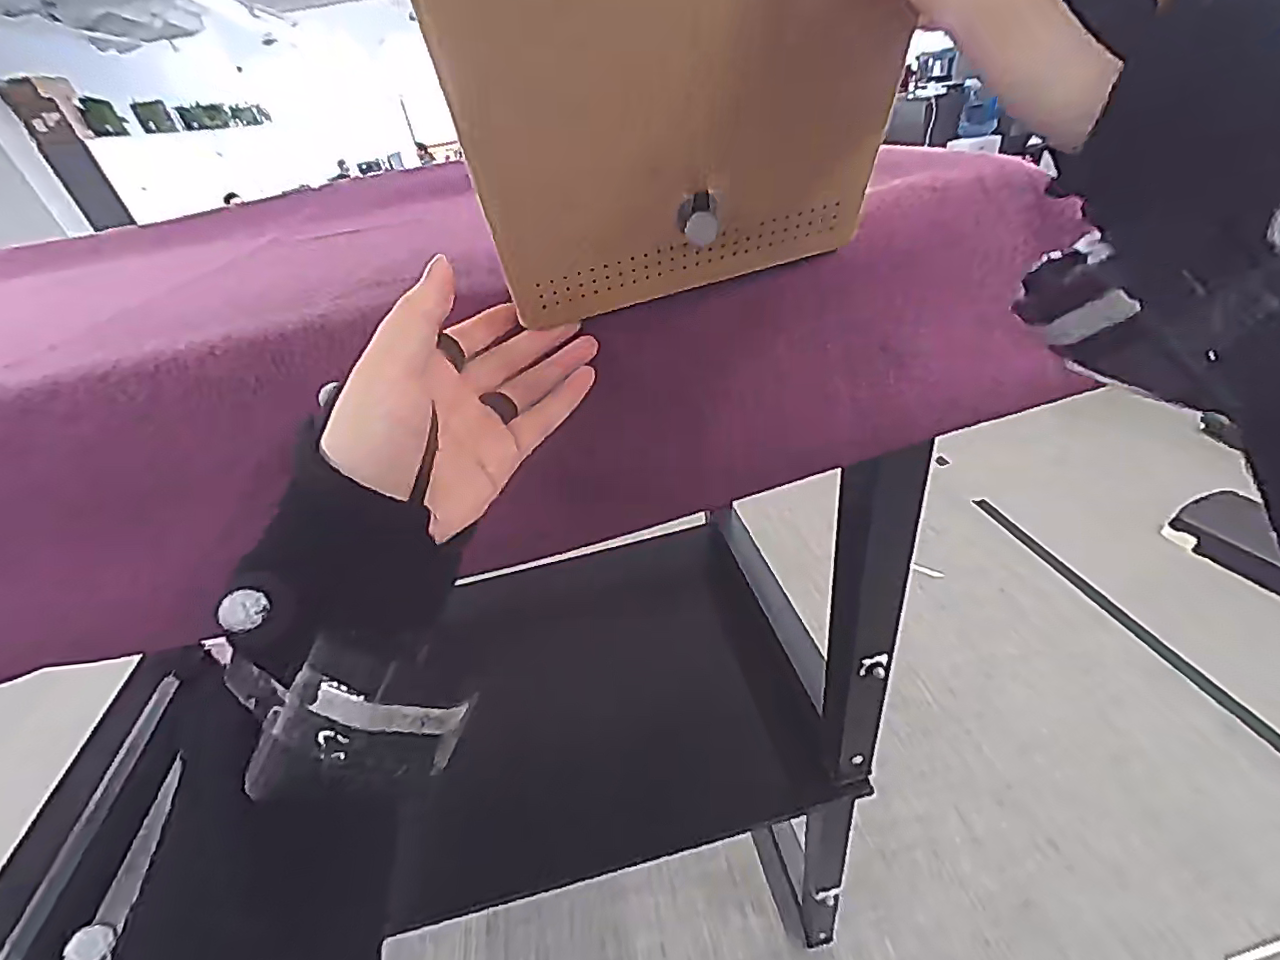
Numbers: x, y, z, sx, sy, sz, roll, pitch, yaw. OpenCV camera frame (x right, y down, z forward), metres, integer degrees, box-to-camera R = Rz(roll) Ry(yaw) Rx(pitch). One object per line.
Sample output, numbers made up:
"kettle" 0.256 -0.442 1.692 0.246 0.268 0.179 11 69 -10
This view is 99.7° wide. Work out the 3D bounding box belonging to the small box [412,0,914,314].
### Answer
"small box" -0.003 -0.204 0.235 0.179 0.176 0.168 -17 61 -6
